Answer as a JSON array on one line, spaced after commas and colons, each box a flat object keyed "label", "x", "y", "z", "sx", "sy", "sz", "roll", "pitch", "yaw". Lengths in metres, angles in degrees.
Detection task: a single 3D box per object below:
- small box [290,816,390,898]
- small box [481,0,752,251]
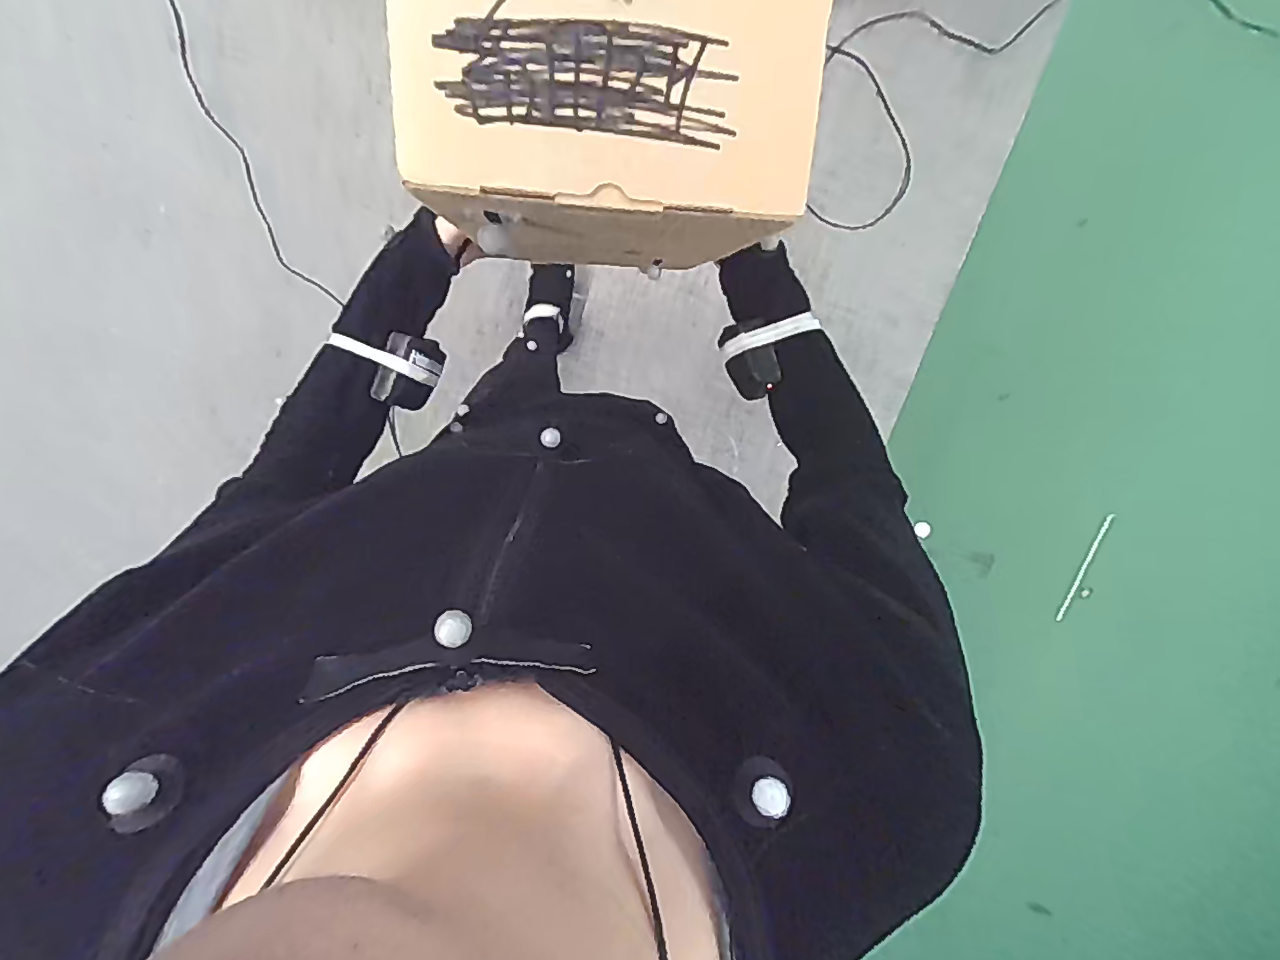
[{"label": "small box", "x": -0.780, "y": 1.013, "z": 1.404, "sx": 0.179, "sy": 0.176, "sz": 0.168, "roll": 14, "pitch": 100, "yaw": -9}, {"label": "small box", "x": -0.024, "y": -0.284, "z": 0.434, "sx": 0.179, "sy": 0.176, "sz": 0.168, "roll": 1, "pitch": 106, "yaw": -6}]
